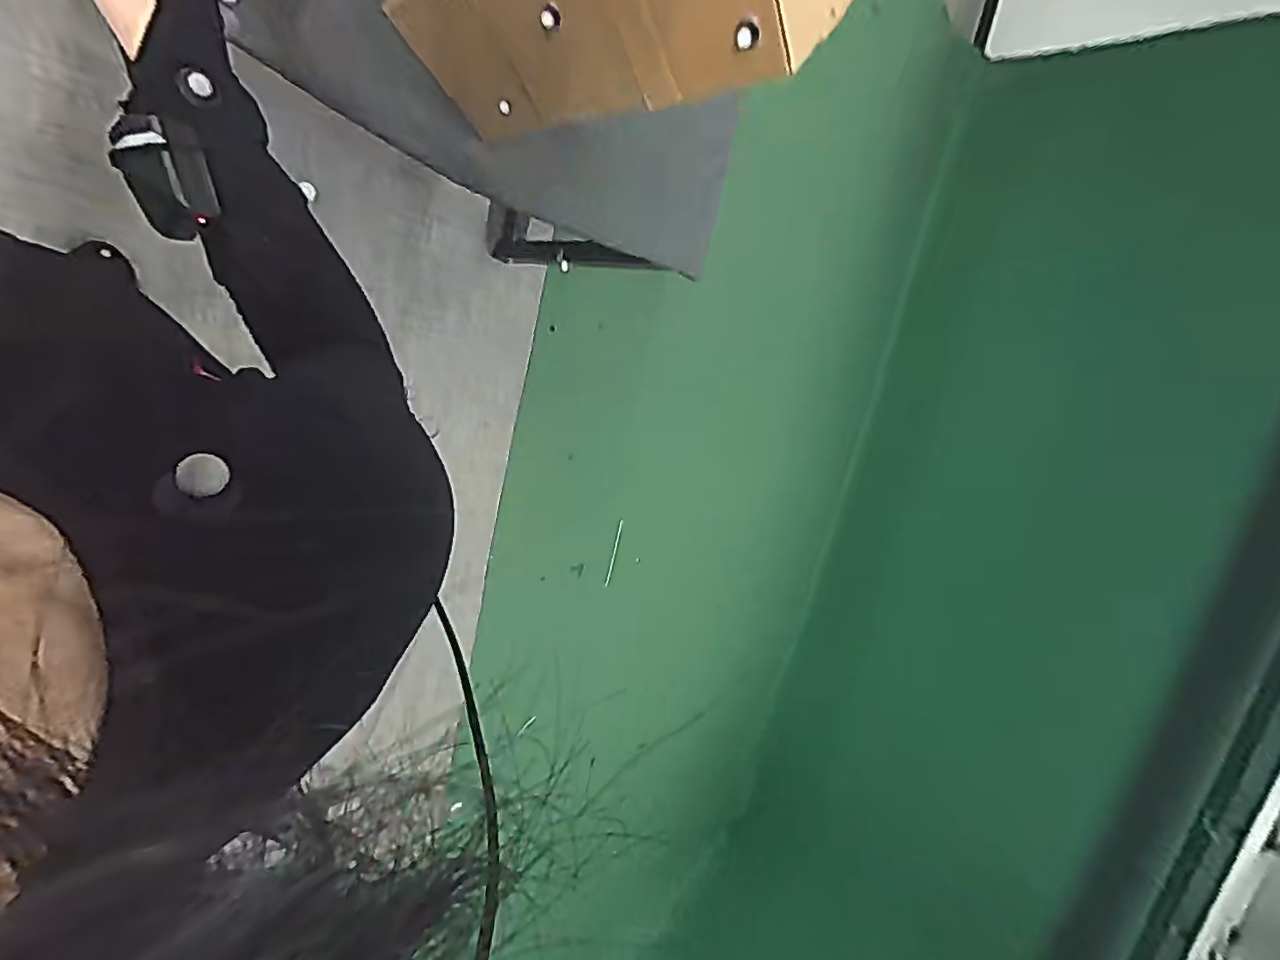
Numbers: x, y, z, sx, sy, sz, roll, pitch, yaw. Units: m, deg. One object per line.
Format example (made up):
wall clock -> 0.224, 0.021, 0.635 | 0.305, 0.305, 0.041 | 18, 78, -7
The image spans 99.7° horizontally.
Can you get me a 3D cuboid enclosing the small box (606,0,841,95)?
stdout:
small box -> 0.067, -0.469, 0.456 | 0.168, 0.176, 0.179 | -56, 140, -16
